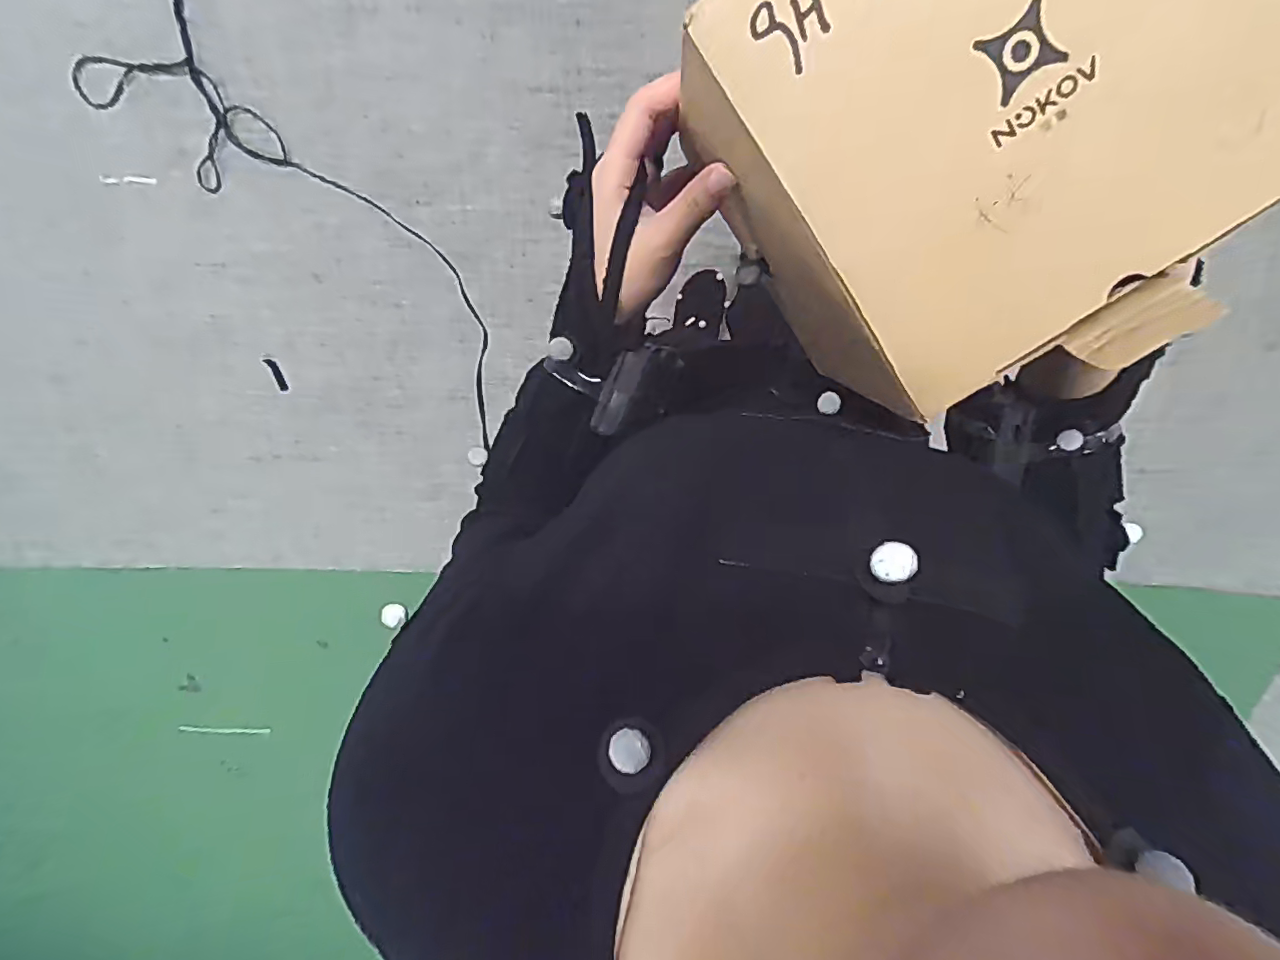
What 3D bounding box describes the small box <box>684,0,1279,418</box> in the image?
[{"bbox_3d":[0.136,-0.160,0.265,0.168,0.176,0.179,-33,103,14],"label":"small box"}]
